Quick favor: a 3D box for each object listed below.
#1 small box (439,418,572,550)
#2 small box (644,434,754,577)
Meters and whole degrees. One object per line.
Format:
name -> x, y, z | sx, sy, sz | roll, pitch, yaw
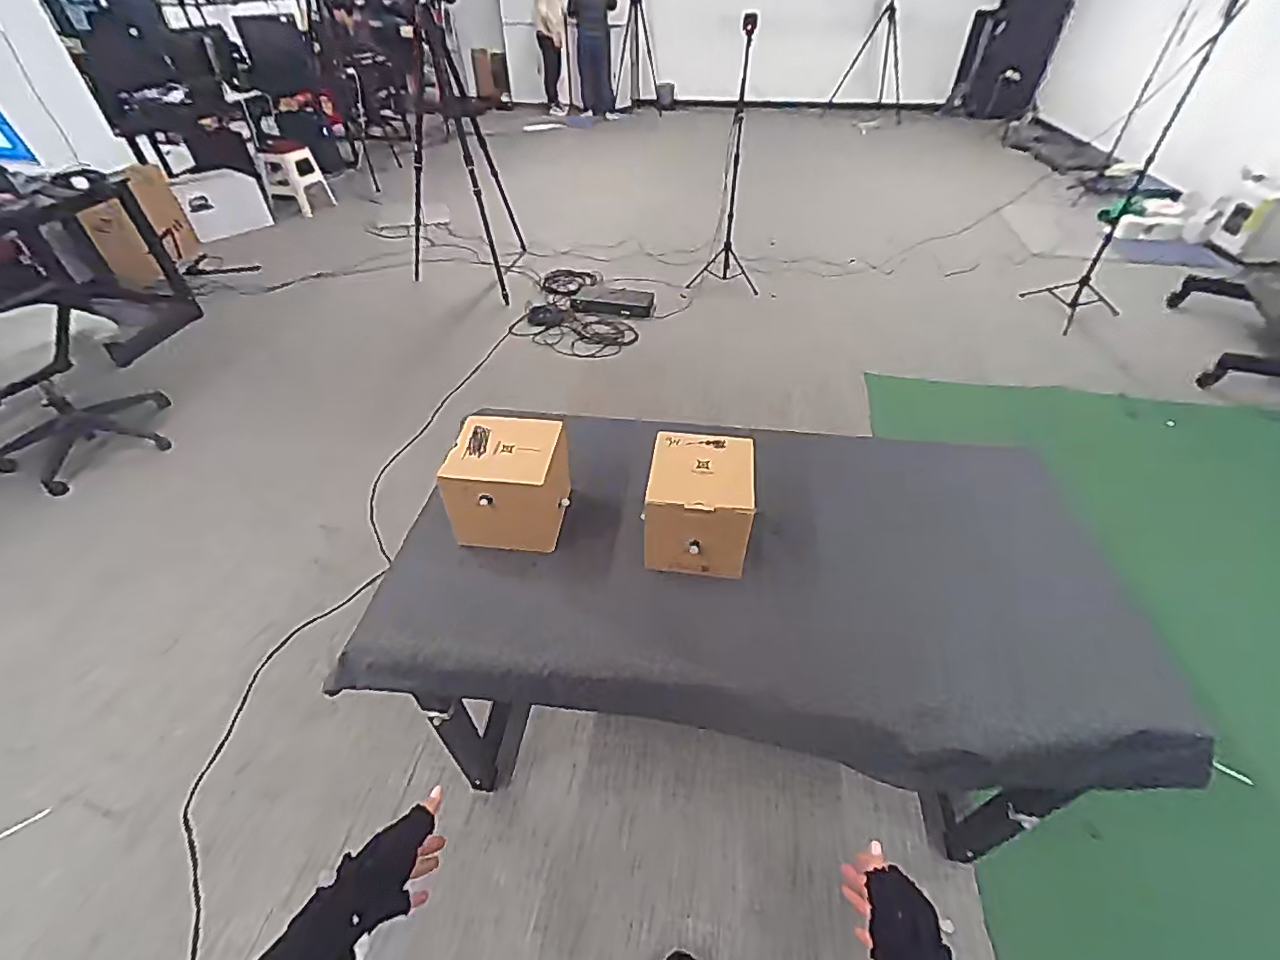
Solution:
small box -> -0.226, 0.008, 0.960 | 0.179, 0.176, 0.168 | 5, 43, 4
small box -> 0.101, 0.045, 0.922 | 0.168, 0.176, 0.179 | 6, 44, 6
